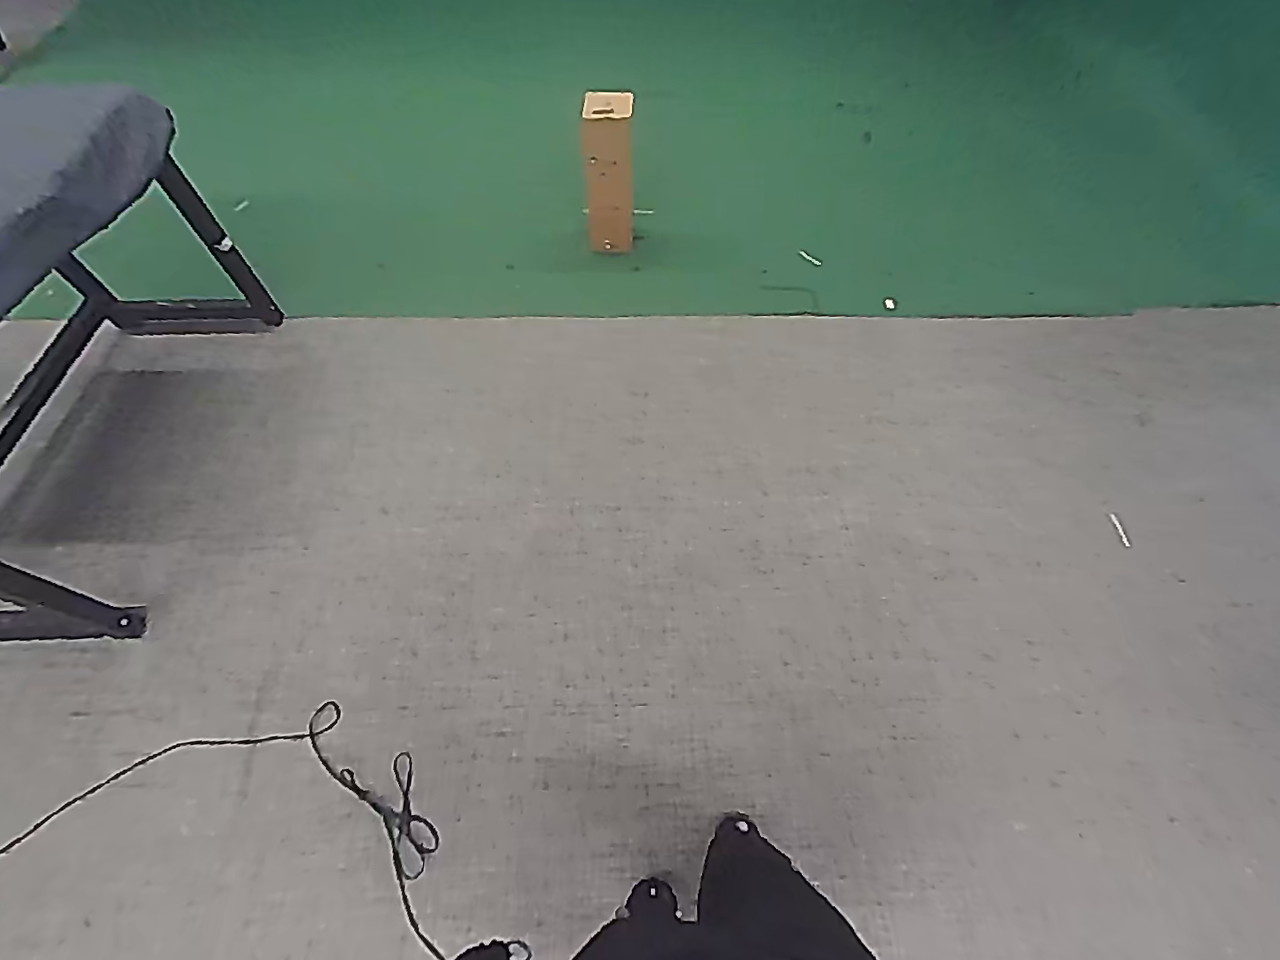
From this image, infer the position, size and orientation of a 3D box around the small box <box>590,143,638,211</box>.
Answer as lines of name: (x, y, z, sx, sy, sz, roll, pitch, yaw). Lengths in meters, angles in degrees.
small box: (-0.094, -1.136, 2.022, 0.168, 0.176, 0.179, 2, 58, 1)

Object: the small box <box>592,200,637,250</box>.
small box: (-0.098, -1.047, 2.159, 0.168, 0.176, 0.179, 1, 60, 1)

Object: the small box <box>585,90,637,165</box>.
small box: (-0.097, -1.227, 1.884, 0.168, 0.176, 0.179, 2, 58, 1)
